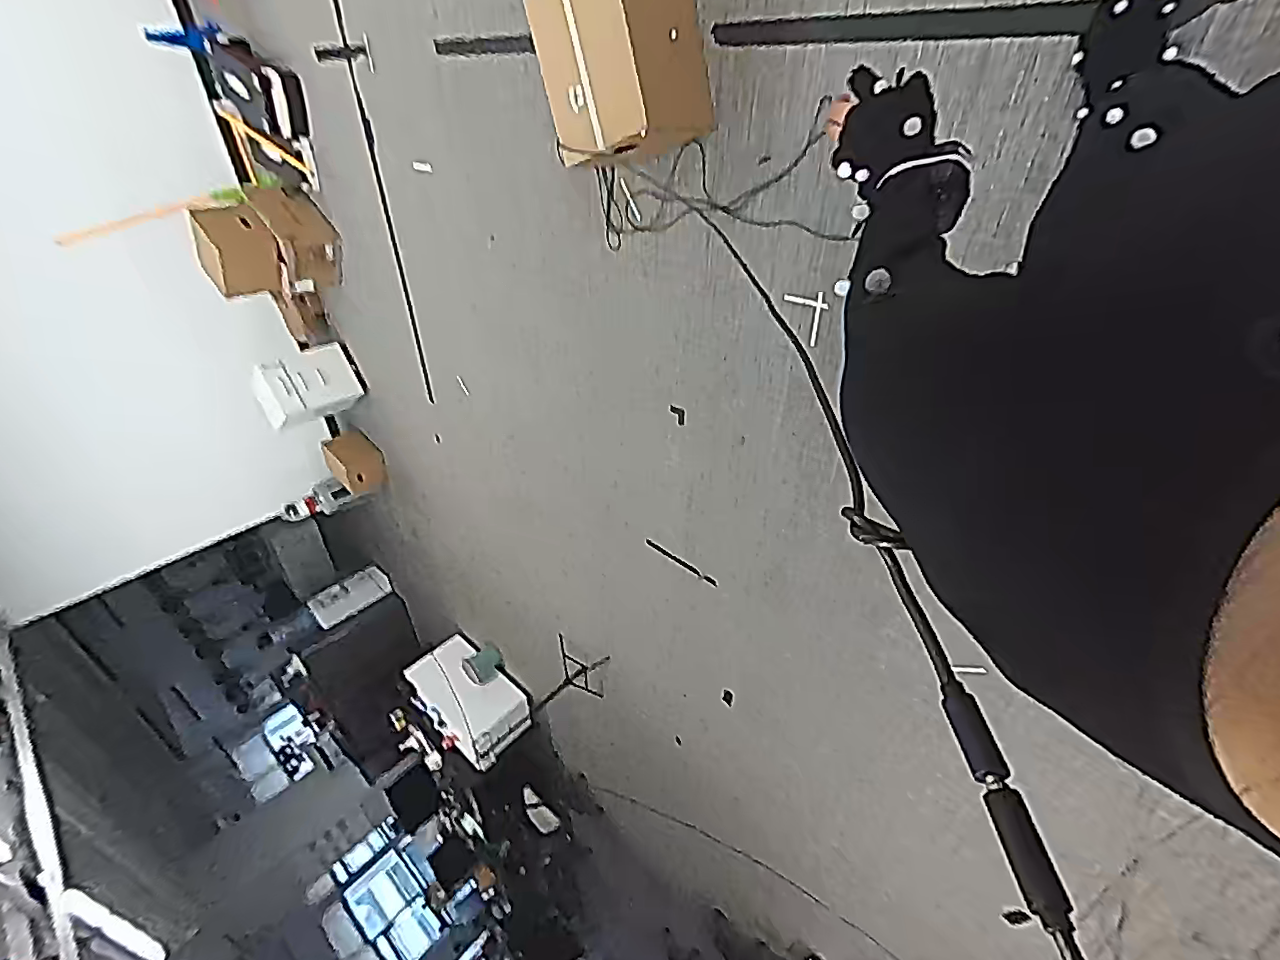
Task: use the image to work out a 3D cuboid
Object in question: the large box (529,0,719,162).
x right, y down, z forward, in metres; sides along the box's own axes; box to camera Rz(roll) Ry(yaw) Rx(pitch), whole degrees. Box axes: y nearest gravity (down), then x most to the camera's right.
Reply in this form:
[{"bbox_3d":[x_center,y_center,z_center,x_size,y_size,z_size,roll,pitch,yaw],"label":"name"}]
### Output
[{"bbox_3d":[-0.031,-1.122,1.433,0.320,0.320,0.408,5,120,43],"label":"large box"}]
